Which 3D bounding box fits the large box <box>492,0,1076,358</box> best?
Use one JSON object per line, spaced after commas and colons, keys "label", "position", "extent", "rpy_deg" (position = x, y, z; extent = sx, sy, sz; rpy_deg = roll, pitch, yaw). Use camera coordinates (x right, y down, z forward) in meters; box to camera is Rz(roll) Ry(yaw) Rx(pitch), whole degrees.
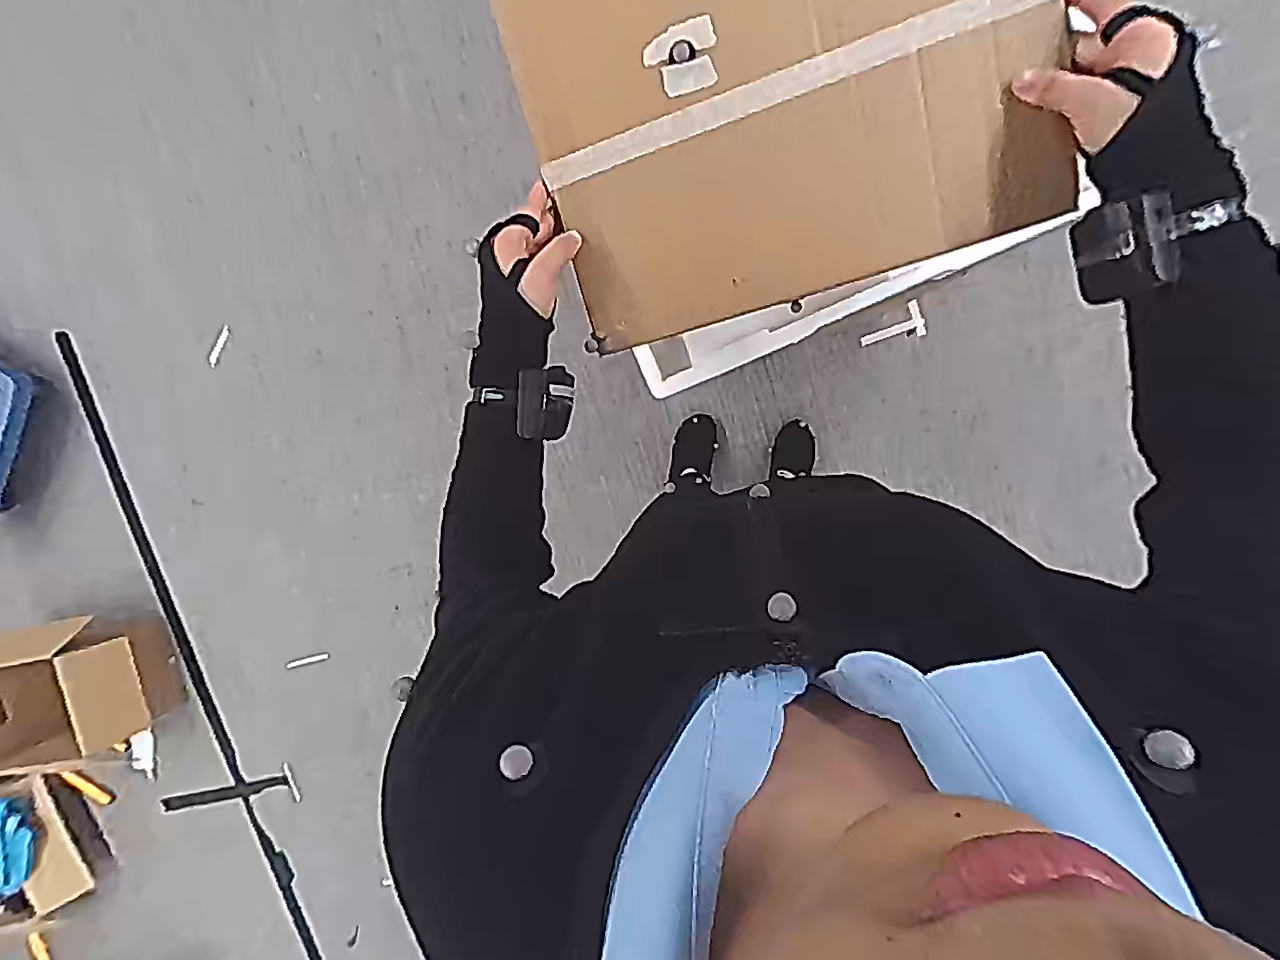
{"label": "large box", "position": [0.131, -0.348, 0.572], "extent": [0.408, 0.320, 0.320], "rpy_deg": [-15, 102, 13]}
